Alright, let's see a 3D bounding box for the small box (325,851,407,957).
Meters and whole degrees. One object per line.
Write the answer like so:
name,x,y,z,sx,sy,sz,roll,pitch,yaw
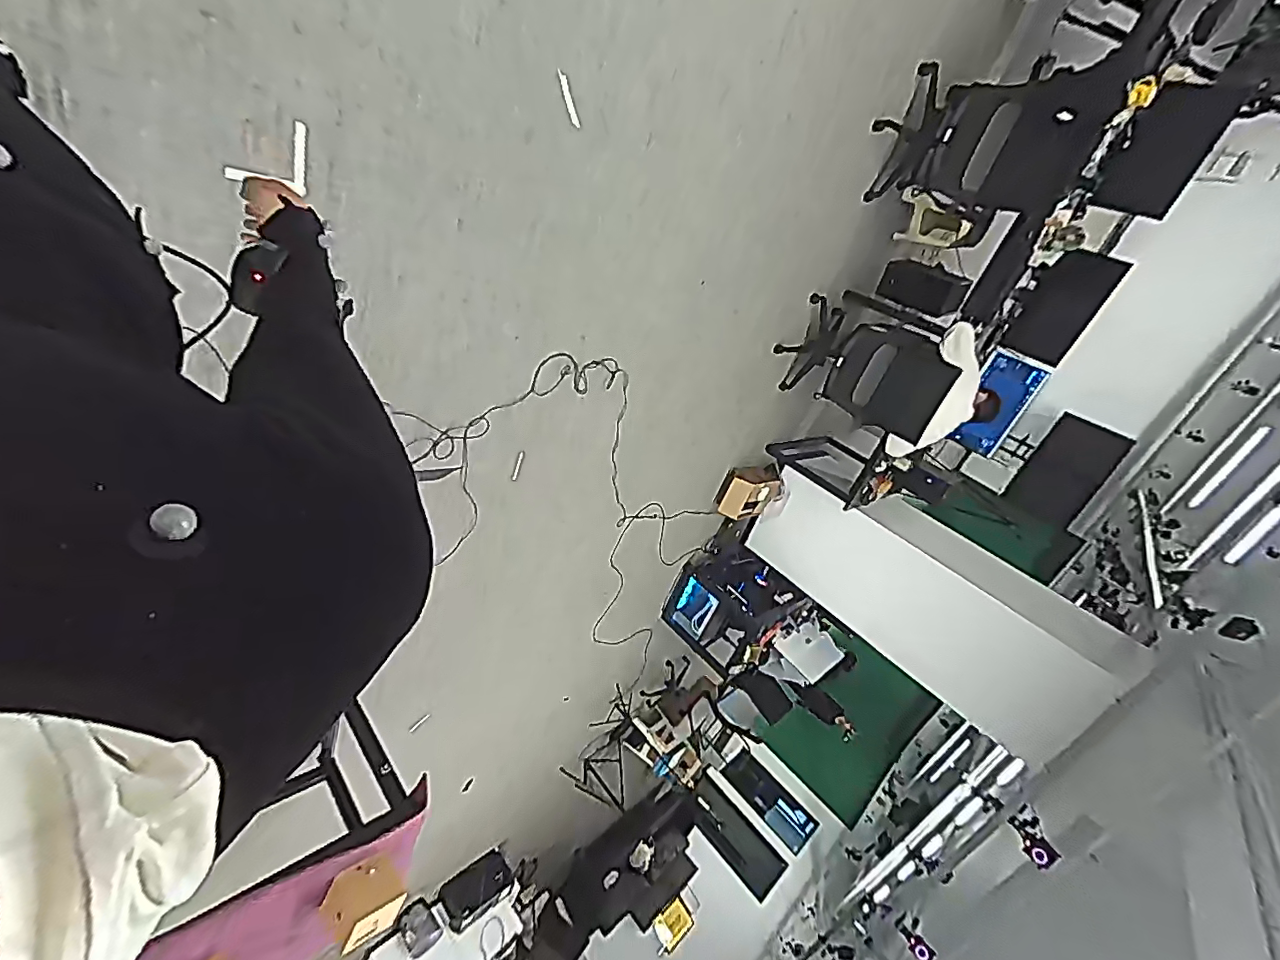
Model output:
small box,-0.885,1.352,1.737,0.168,0.176,0.179,3,120,-53
